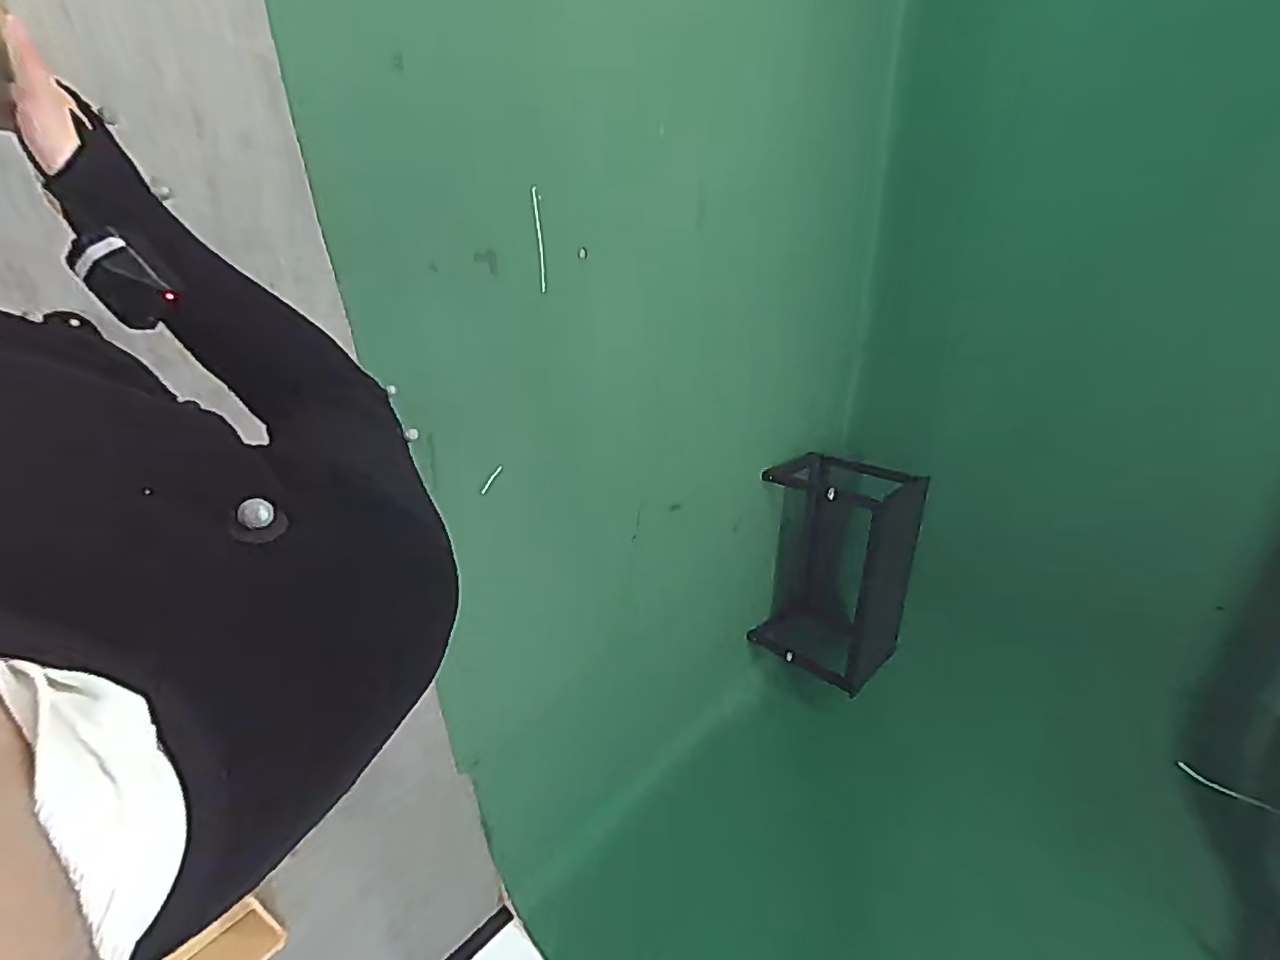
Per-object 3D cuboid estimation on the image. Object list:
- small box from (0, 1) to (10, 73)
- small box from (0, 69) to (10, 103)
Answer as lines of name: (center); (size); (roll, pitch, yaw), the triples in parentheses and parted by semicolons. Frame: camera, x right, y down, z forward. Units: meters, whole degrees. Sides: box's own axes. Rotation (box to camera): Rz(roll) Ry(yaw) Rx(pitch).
small box: (-0.382, -0.293, 0.202); (0.168, 0.176, 0.179); (-13, 117, -43)
small box: (-0.499, -0.344, 0.305); (0.168, 0.176, 0.179); (-11, 115, -45)
